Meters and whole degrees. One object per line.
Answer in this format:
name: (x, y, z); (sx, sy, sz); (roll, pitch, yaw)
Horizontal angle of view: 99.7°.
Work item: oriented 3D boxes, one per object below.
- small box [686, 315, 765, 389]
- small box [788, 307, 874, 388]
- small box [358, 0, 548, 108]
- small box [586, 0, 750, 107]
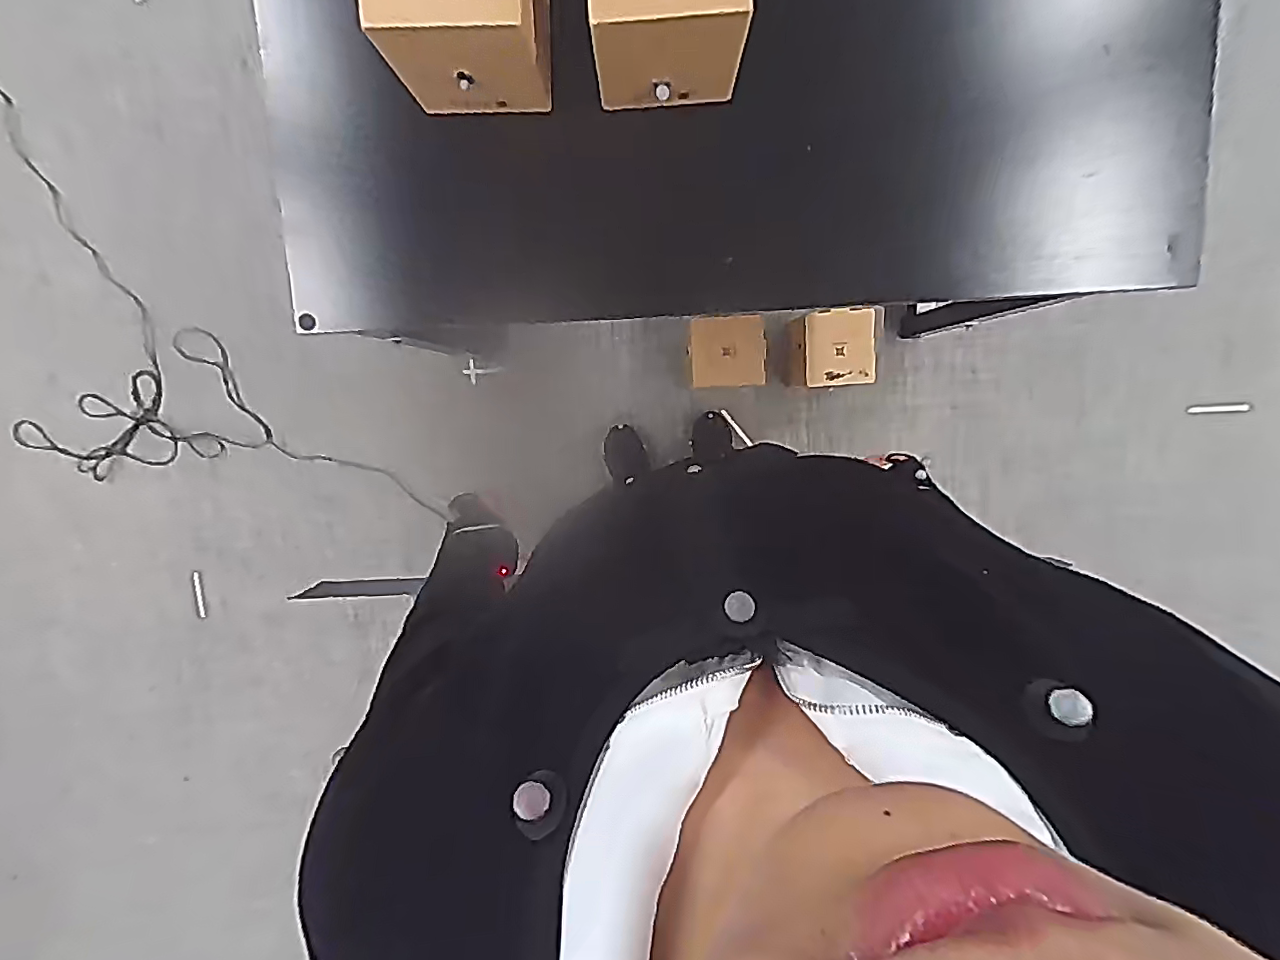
small box: (0.212, -0.319, 1.370); (0.179, 0.176, 0.168); (-3, 97, 3)
small box: (0.474, -0.327, 1.360); (0.168, 0.176, 0.179); (-4, 98, 3)
small box: (-0.199, -0.552, 0.610); (0.168, 0.176, 0.179); (0, 98, 0)
small box: (0.025, -0.558, 0.603); (0.168, 0.176, 0.179); (-3, 99, 2)
